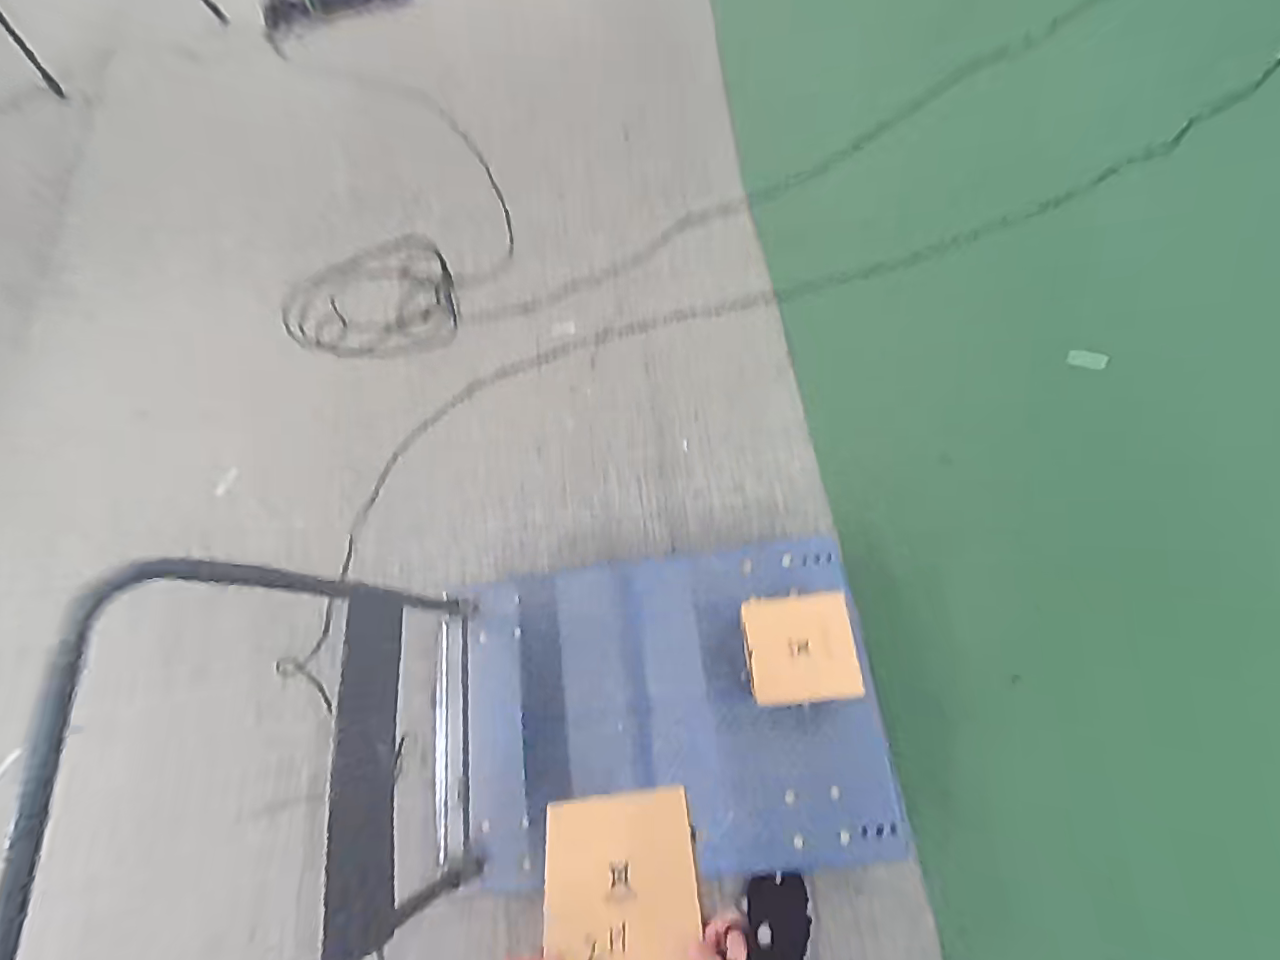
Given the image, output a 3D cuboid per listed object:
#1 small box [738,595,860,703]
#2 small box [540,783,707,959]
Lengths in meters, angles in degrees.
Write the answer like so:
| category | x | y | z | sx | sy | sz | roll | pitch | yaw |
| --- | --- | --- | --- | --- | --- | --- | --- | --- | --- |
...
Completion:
| category | x | y | z | sx | sy | sz | roll | pitch | yaw |
| --- | --- | --- | --- | --- | --- | --- | --- | --- | --- |
| small box | 0.275 | 0.307 | 0.974 | 0.179 | 0.176 | 0.168 | -8 | 70 | 7 |
| small box | -0.015 | 0.479 | 0.636 | 0.168 | 0.176 | 0.179 | -9 | 50 | 2 |
